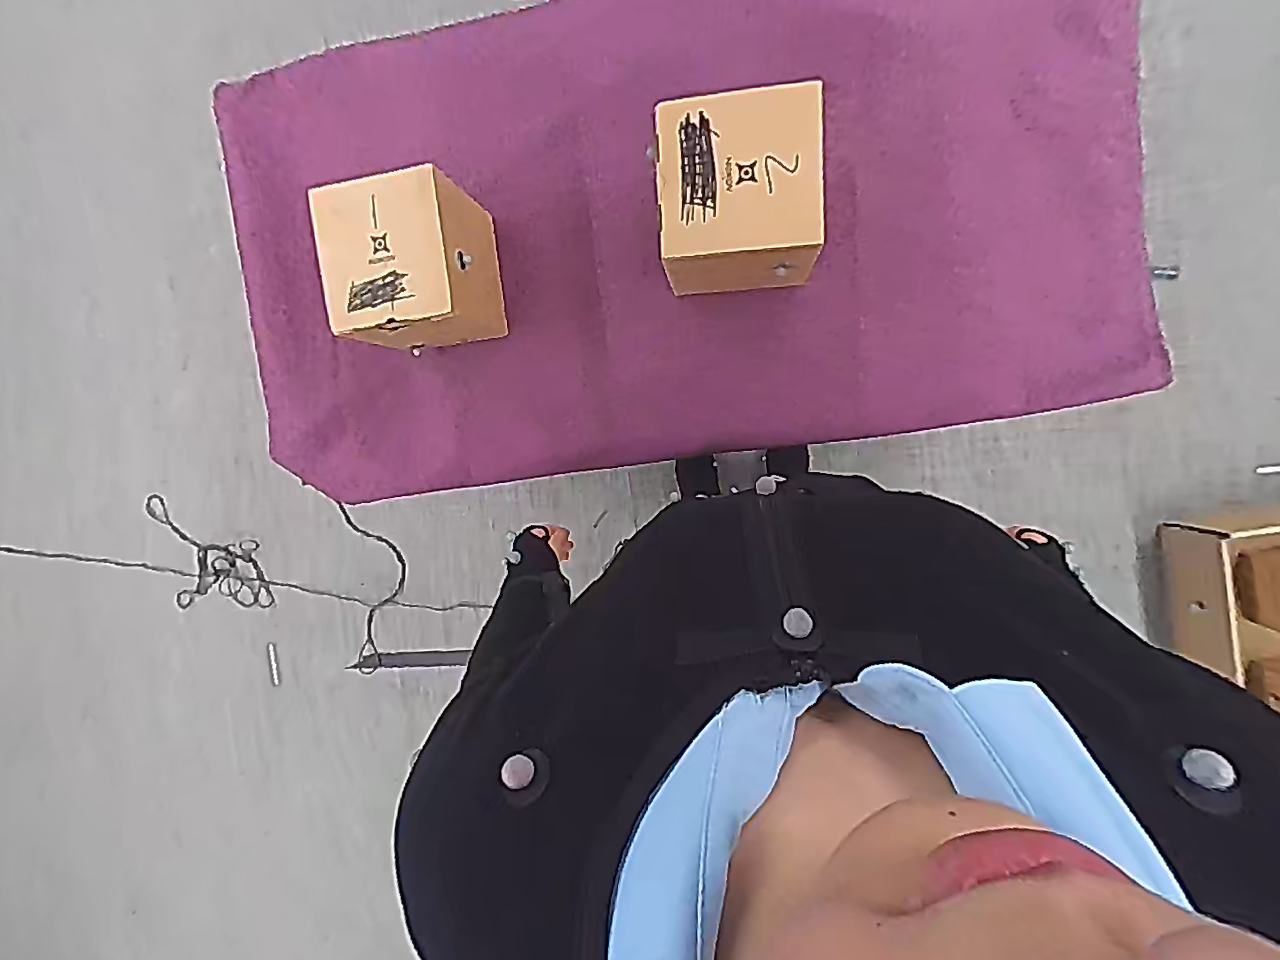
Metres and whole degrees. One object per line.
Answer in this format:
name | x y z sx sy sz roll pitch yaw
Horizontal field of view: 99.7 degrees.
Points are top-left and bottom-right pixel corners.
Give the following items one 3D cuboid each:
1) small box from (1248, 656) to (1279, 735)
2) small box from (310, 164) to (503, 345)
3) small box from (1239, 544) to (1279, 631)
small box | 1.535 0.497 1.201 0.179 0.176 0.168 -10 93 10
small box | -0.297 -0.283 0.725 0.168 0.176 0.179 -6 95 9
small box | 1.485 0.243 1.182 0.168 0.176 0.179 -12 95 9
